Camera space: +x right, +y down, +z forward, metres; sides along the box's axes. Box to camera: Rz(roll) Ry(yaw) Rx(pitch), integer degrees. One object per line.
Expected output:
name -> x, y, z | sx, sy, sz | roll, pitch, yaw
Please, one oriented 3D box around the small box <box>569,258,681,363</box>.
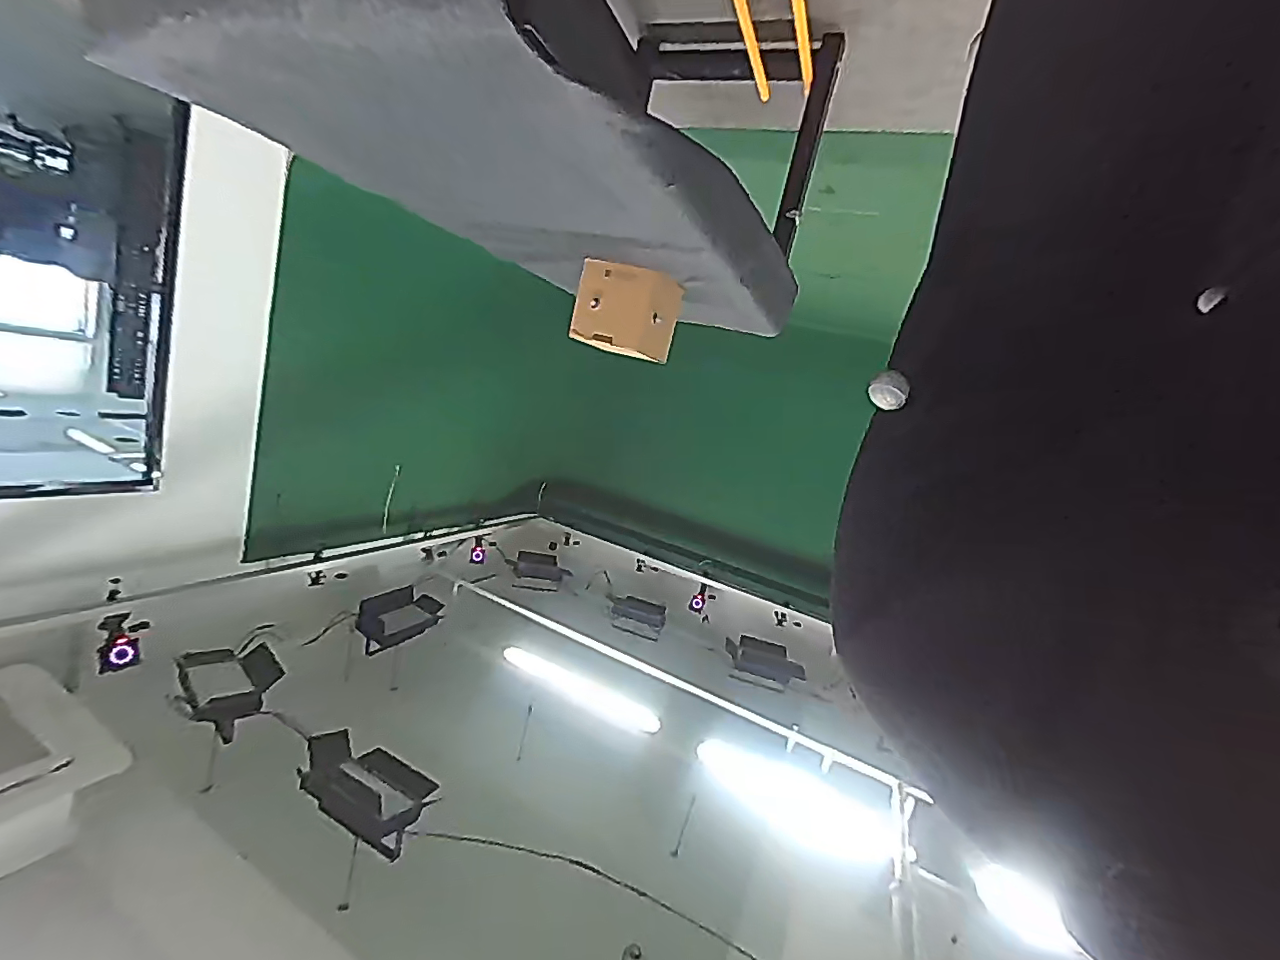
small box -> -0.027, -0.361, 1.162 | 0.168, 0.176, 0.179 | 18, -170, 21
